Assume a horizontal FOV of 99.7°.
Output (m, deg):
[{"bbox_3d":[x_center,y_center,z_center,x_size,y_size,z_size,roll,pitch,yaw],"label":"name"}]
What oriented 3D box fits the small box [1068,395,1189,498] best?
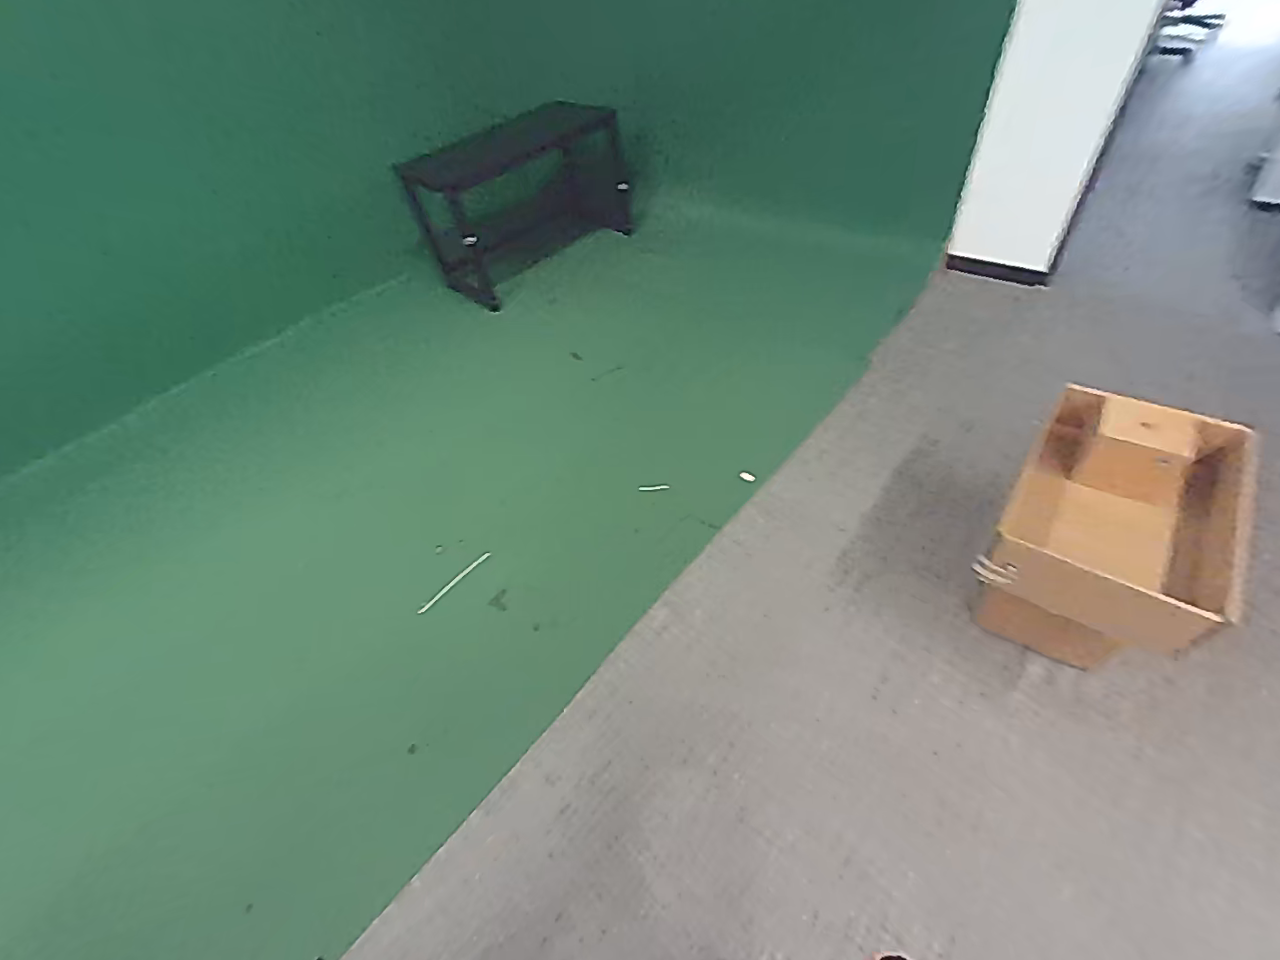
[{"bbox_3d":[1.219,-0.082,1.359,0.179,0.176,0.168,23,55,27],"label":"small box"}]
